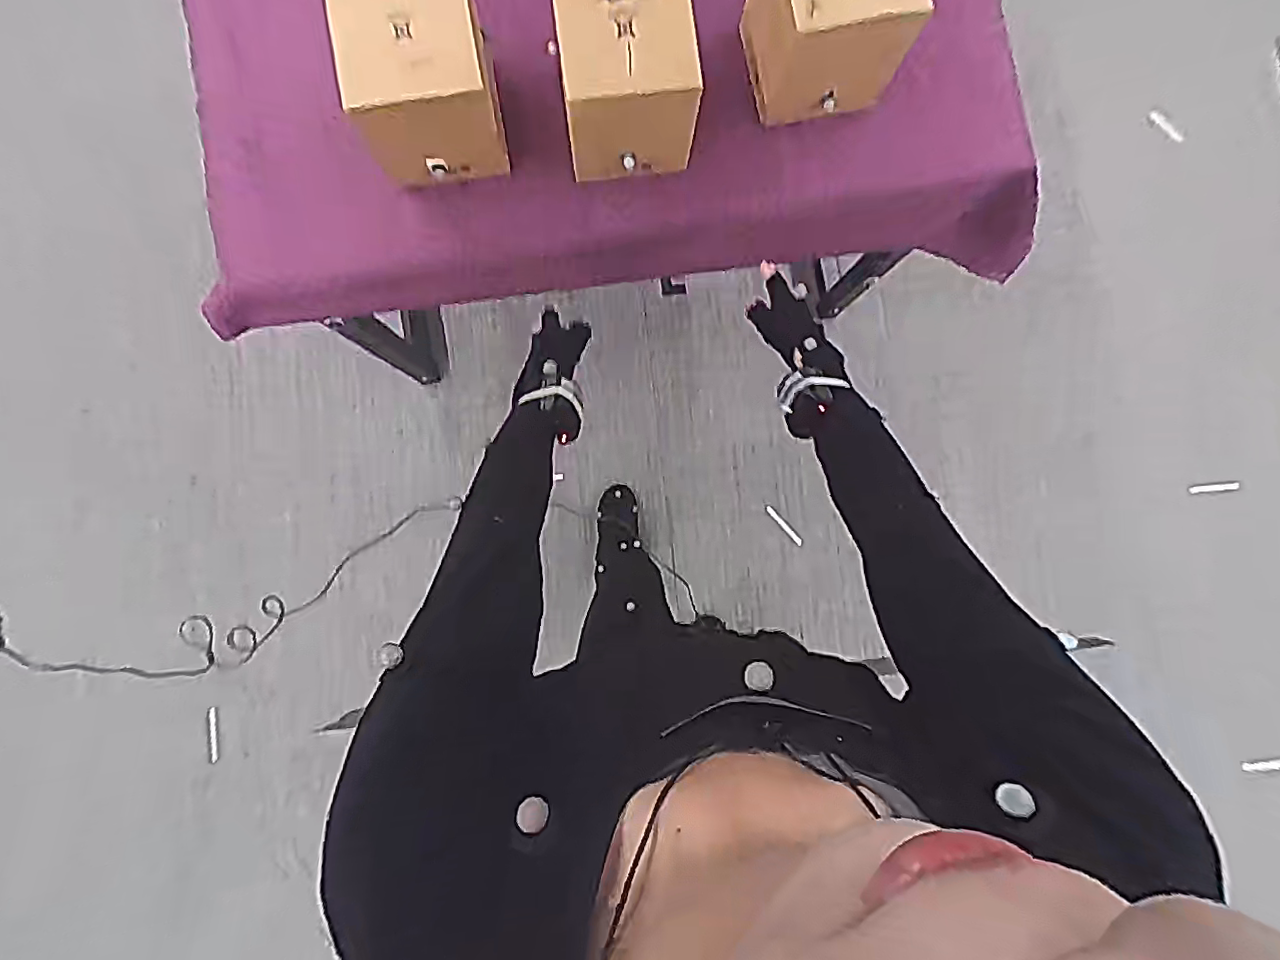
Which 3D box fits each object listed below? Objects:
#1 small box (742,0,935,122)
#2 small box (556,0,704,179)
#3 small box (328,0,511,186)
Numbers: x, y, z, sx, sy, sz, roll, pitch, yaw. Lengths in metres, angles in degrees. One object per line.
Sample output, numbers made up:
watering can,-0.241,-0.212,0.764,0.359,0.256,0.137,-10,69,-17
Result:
small box,0.255,-0.629,0.733,0.179,0.176,0.168,-12,88,-3
small box,-0.019,-0.538,0.717,0.168,0.176,0.179,-8,88,-2
small box,-0.277,-0.525,0.708,0.168,0.176,0.179,-10,88,-2
